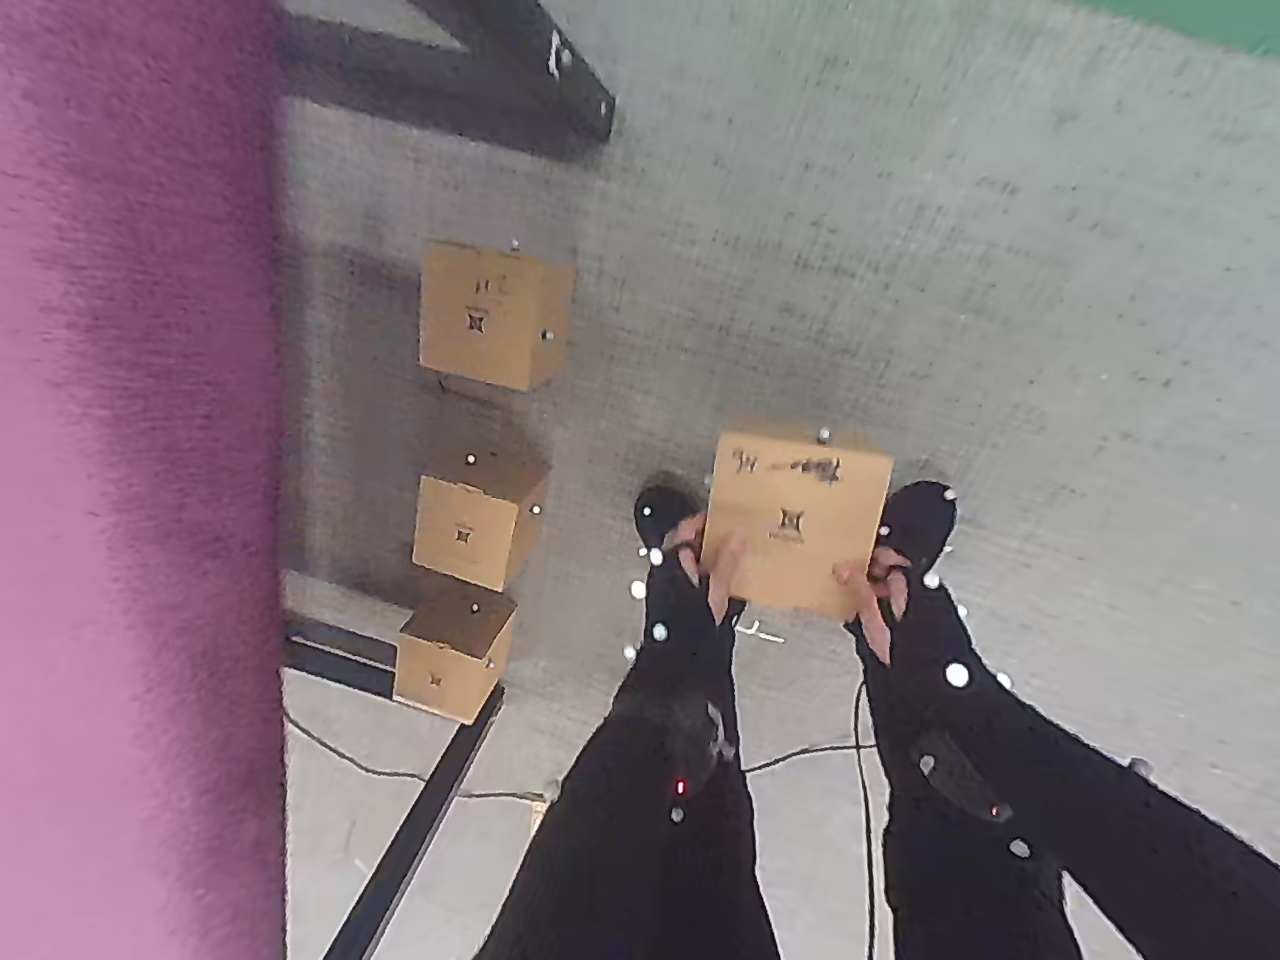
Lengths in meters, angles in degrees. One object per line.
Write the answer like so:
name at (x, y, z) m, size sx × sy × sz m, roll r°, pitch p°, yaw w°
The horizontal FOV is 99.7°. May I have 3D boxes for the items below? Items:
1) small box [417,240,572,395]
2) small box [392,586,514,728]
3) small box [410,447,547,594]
small box at (-0.210, -0.247, 0.808) m, size 0.168 × 0.176 × 0.179 m, roll 14°, pitch 113°, yaw 5°
small box at (-0.366, 0.344, 1.075) m, size 0.168 × 0.176 × 0.179 m, roll 17°, pitch 113°, yaw 4°
small box at (-0.274, 0.061, 0.944) m, size 0.168 × 0.176 × 0.179 m, roll 18°, pitch 114°, yaw 4°
